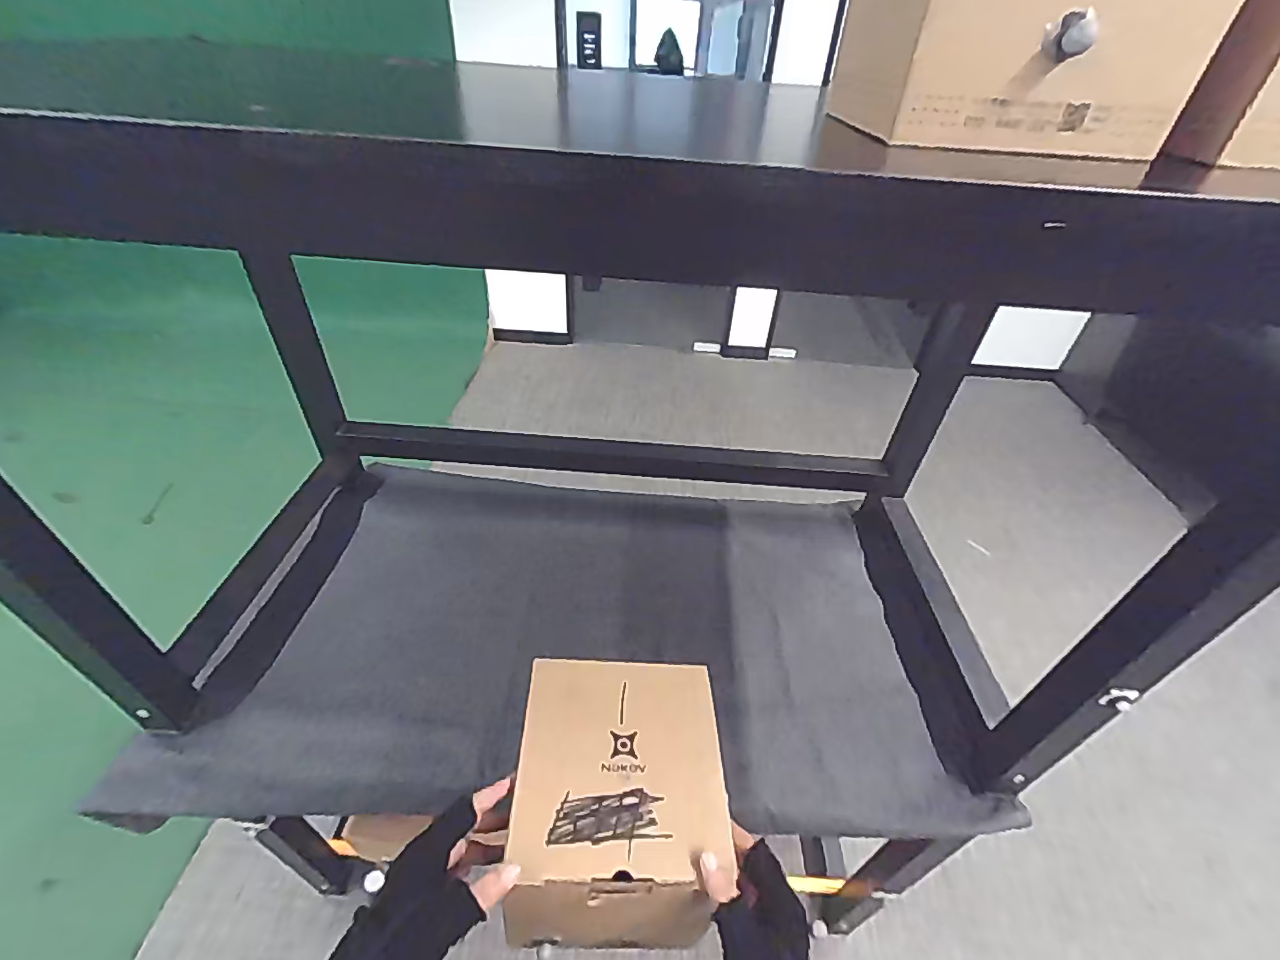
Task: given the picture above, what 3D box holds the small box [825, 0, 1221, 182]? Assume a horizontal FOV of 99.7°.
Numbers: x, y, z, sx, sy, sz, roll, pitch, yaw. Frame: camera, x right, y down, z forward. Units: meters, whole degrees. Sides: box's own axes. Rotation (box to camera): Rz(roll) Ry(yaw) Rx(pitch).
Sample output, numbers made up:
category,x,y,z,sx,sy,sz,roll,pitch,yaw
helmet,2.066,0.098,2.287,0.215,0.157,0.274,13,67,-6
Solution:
category,x,y,z,sx,sy,sz,roll,pitch,yaw
small box,0.239,-0.314,0.361,0.168,0.176,0.179,4,39,0
